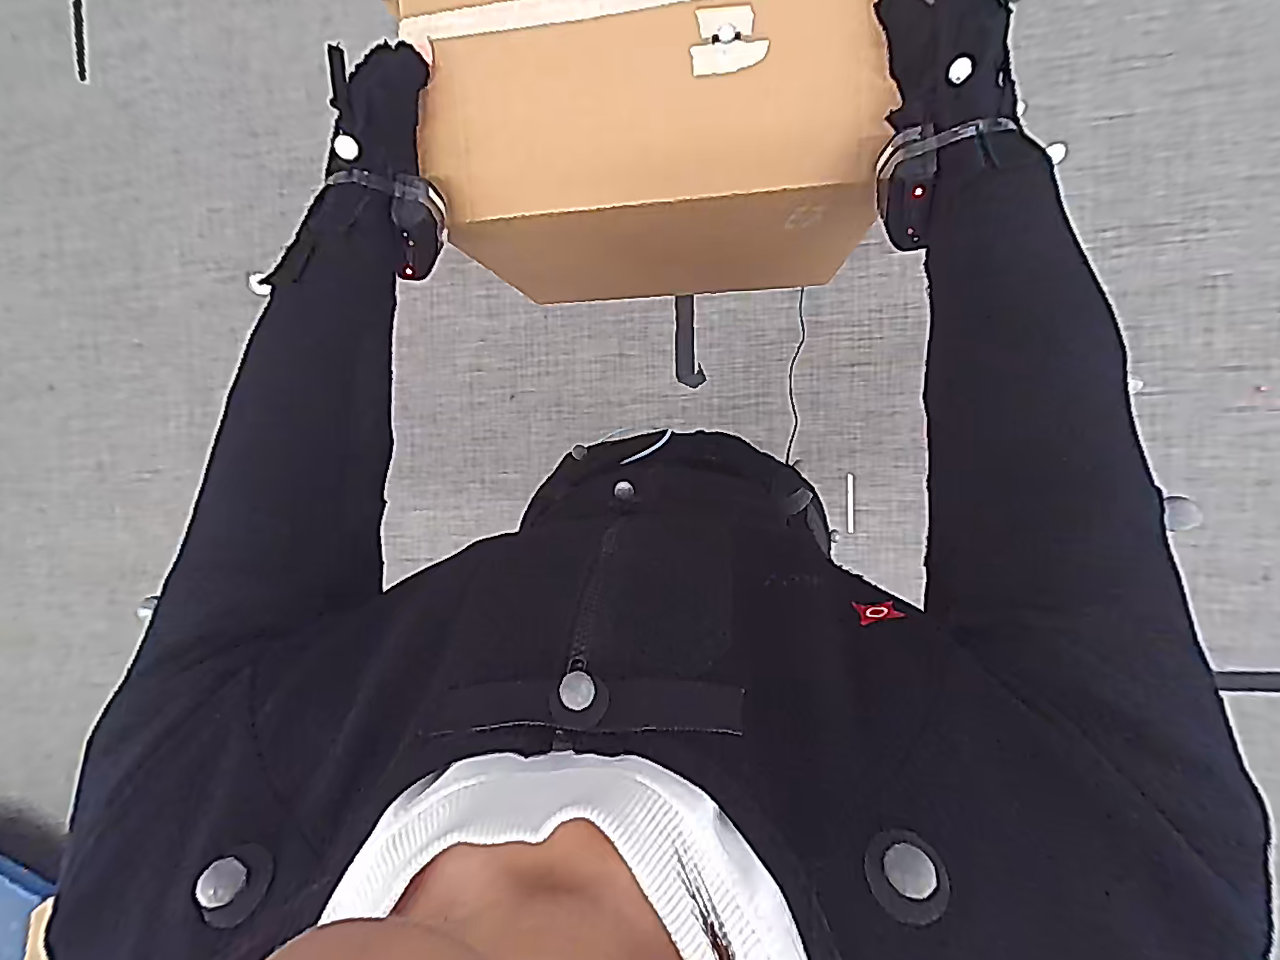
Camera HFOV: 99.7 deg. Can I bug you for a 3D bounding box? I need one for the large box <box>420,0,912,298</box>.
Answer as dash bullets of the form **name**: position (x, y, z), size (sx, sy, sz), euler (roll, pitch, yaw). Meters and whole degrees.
- **large box**: position (0.026, -0.404, 0.585), size (0.408, 0.320, 0.320), euler (-2, 96, 7)
